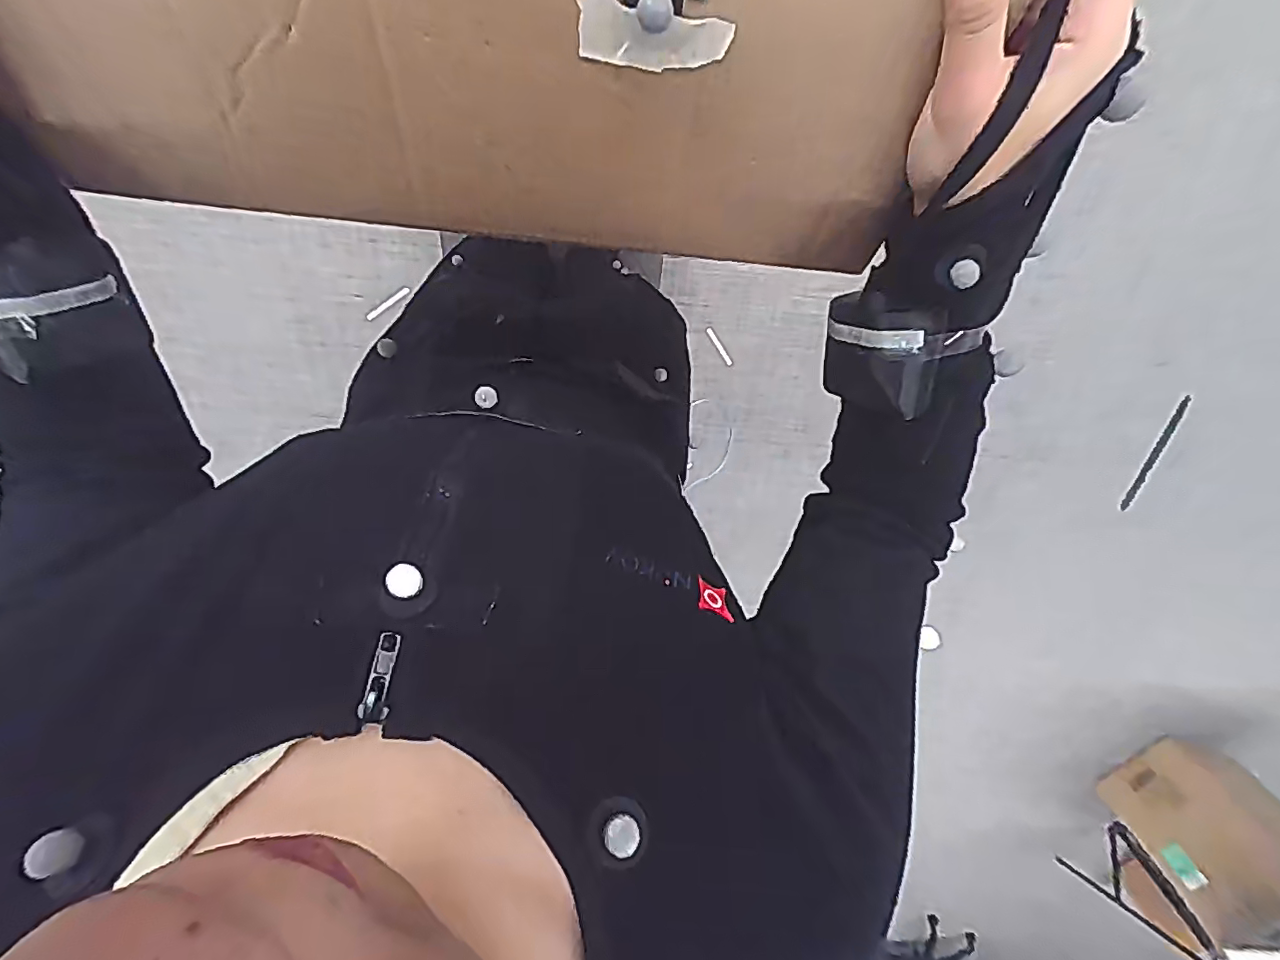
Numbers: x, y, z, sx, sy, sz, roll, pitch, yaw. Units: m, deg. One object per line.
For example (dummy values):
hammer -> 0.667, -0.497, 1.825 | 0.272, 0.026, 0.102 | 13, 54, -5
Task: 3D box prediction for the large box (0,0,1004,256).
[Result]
large box -> -0.057, -0.338, 0.232 | 0.408, 0.320, 0.320 | 2, 153, -7
